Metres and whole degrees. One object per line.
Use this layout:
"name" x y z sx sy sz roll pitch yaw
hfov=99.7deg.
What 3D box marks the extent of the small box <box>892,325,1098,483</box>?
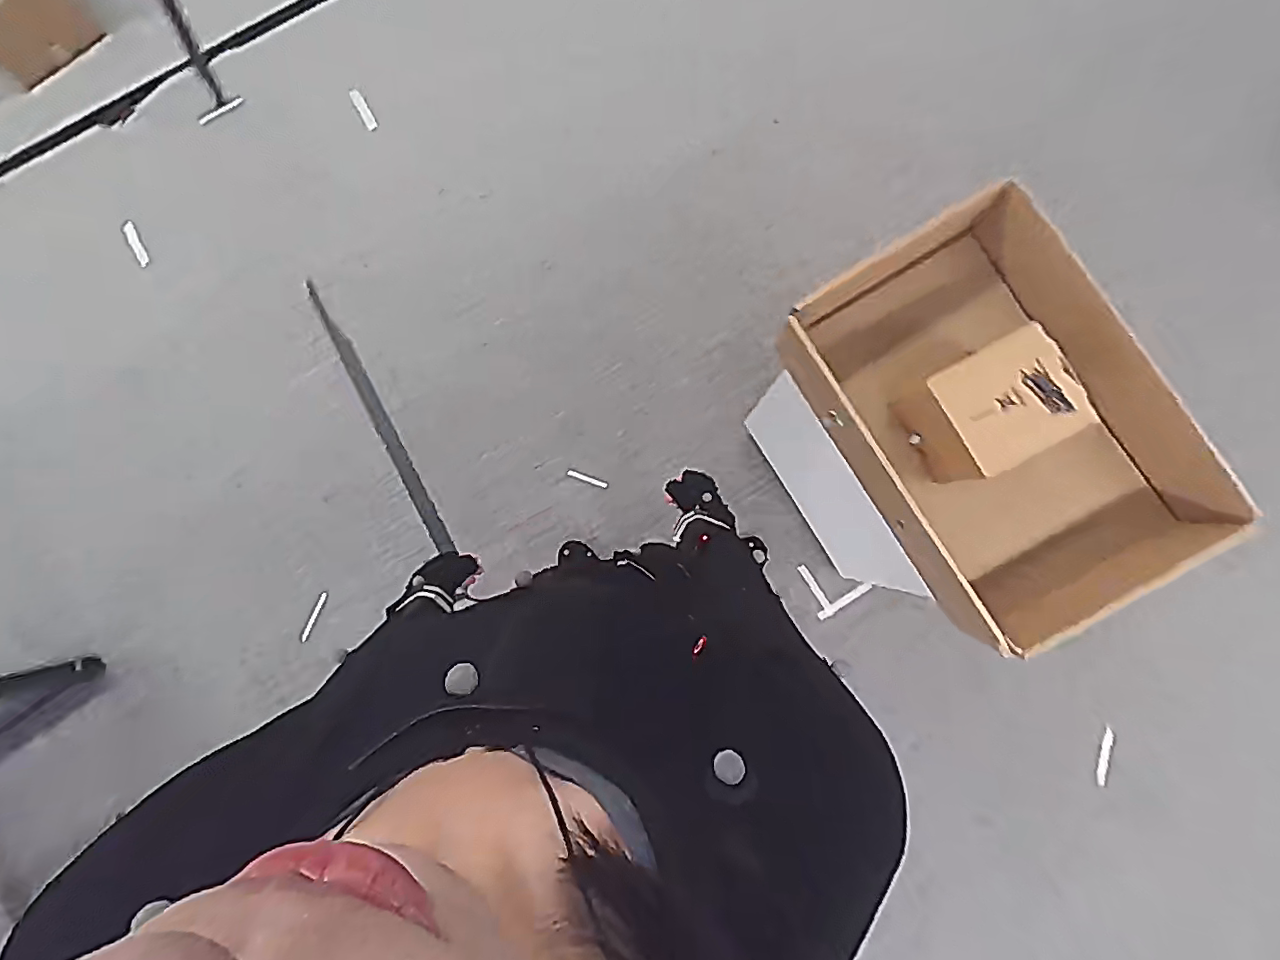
"small box" 0.536 -0.108 0.845 0.179 0.176 0.168 -29 84 4
